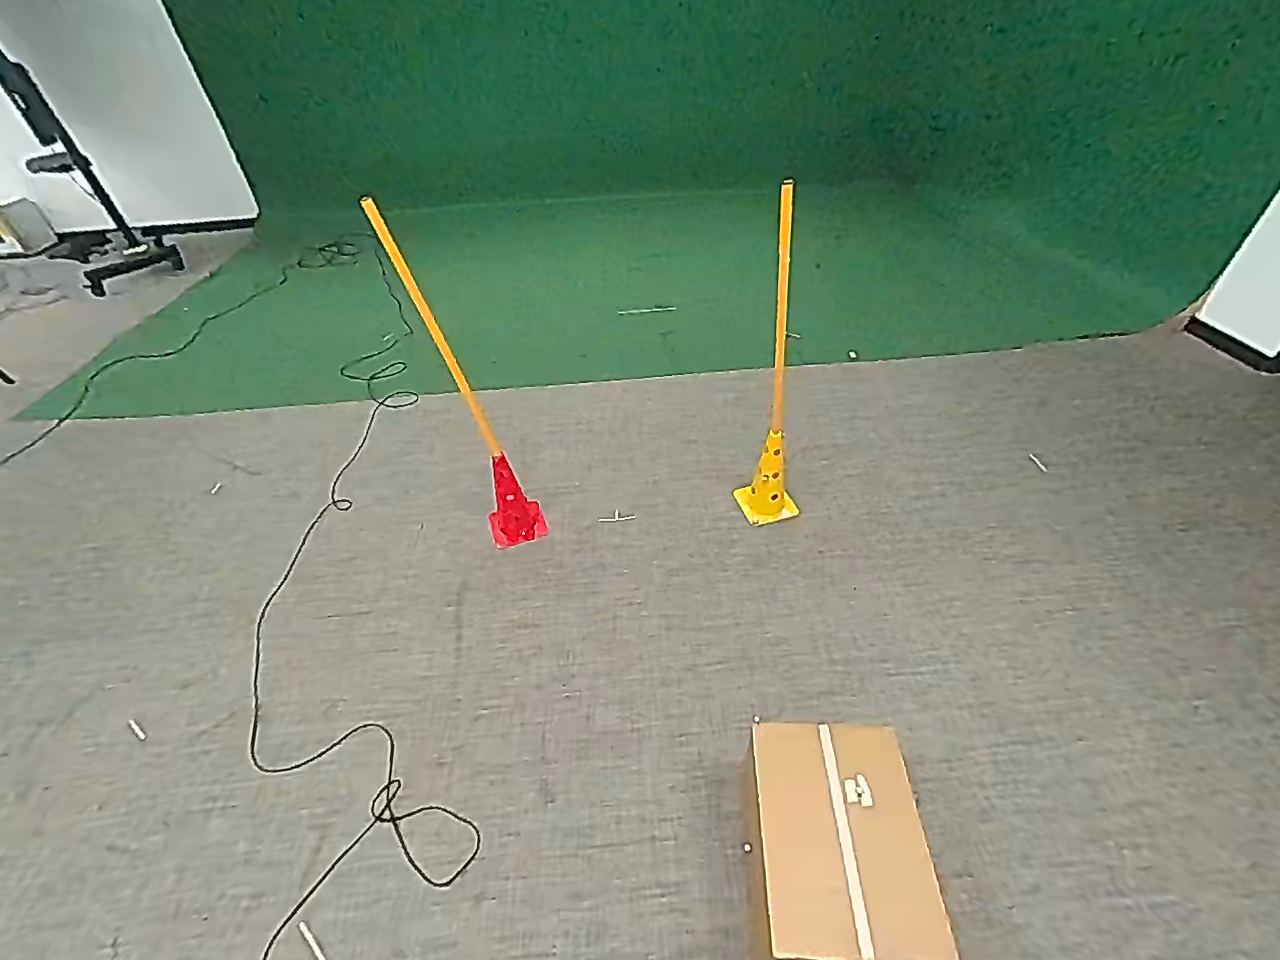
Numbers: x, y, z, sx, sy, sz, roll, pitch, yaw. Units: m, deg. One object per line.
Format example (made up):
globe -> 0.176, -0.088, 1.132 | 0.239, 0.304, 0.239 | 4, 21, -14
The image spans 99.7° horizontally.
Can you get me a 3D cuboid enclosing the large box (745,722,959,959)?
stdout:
large box -> 0.404, 0.788, 1.158 | 0.320, 0.320, 0.408 | 0, 41, 4
